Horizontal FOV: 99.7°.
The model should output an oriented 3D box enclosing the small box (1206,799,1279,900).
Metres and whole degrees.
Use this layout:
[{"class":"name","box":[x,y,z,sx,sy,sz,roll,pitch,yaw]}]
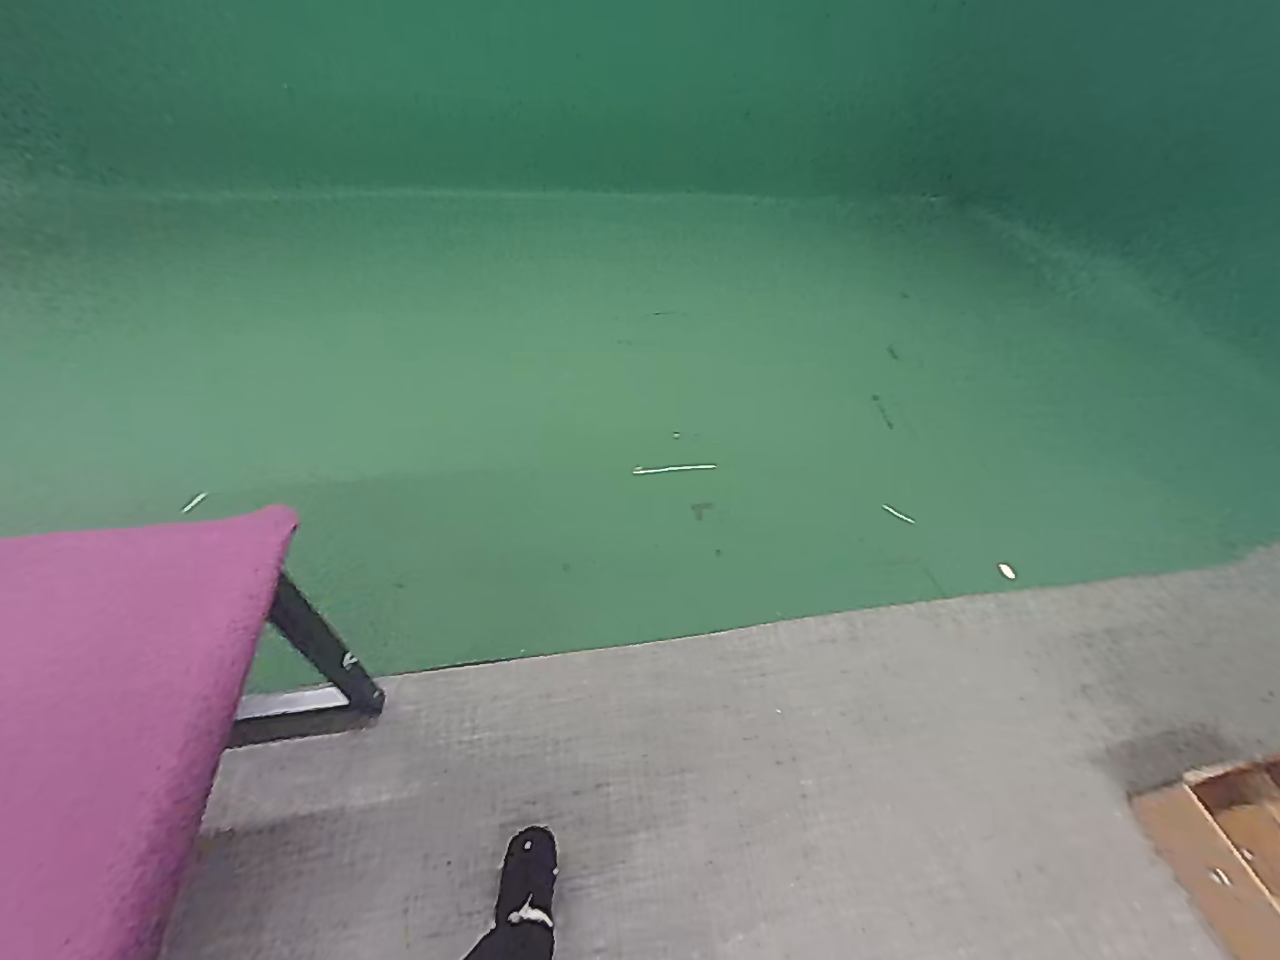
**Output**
[{"class":"small box","box":[1.445,0.811,1.198,0.179,0.176,0.168,-5,50,-10]}]
